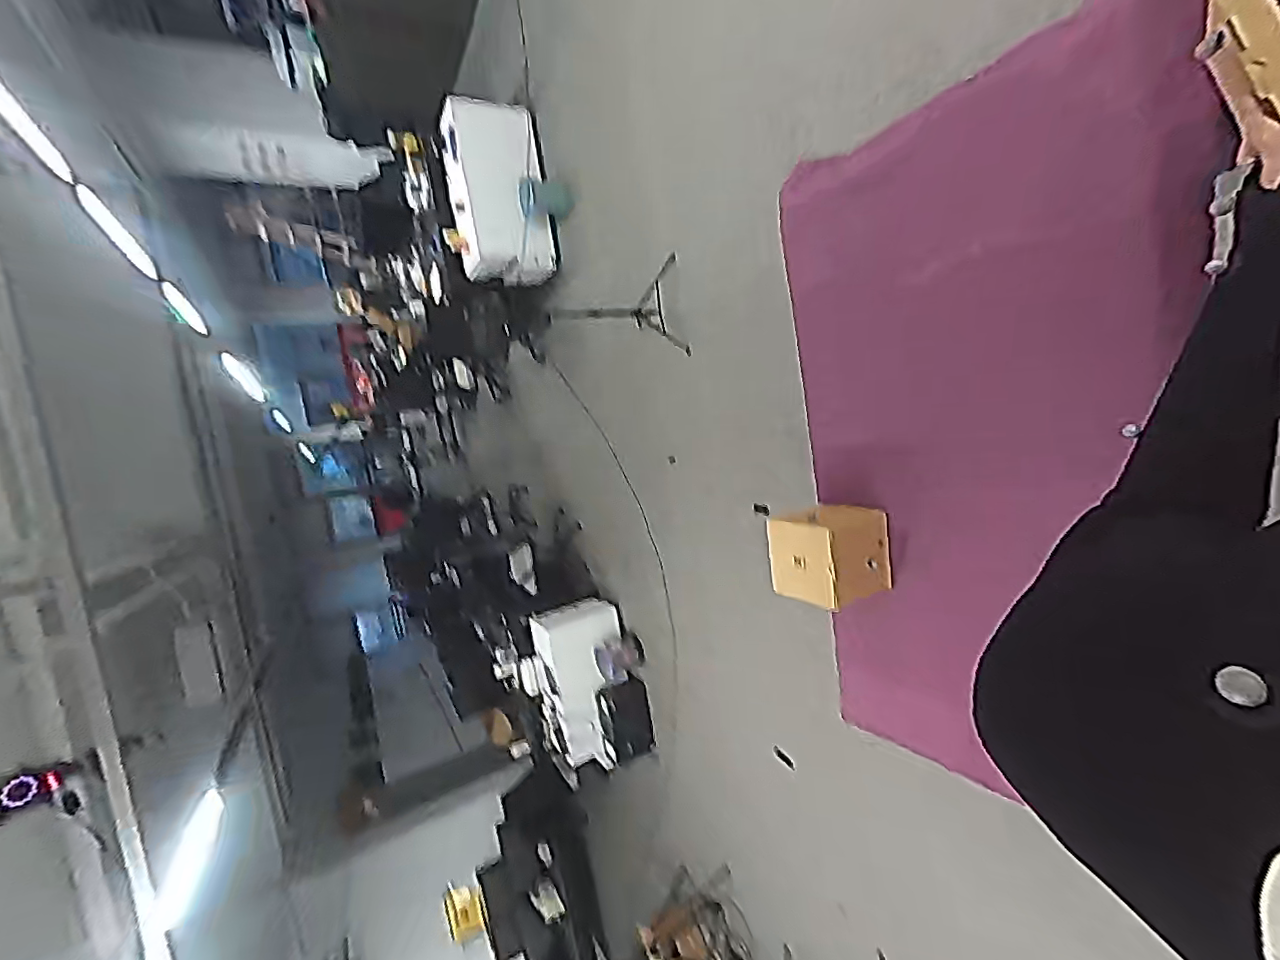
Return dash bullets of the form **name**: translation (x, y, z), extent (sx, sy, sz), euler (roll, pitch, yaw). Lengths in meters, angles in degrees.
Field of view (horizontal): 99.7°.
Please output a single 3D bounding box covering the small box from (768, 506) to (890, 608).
- **small box**: translation (0.399, 0.153, 1.149), extent (0.179, 0.176, 0.168), euler (5, 104, 61)
